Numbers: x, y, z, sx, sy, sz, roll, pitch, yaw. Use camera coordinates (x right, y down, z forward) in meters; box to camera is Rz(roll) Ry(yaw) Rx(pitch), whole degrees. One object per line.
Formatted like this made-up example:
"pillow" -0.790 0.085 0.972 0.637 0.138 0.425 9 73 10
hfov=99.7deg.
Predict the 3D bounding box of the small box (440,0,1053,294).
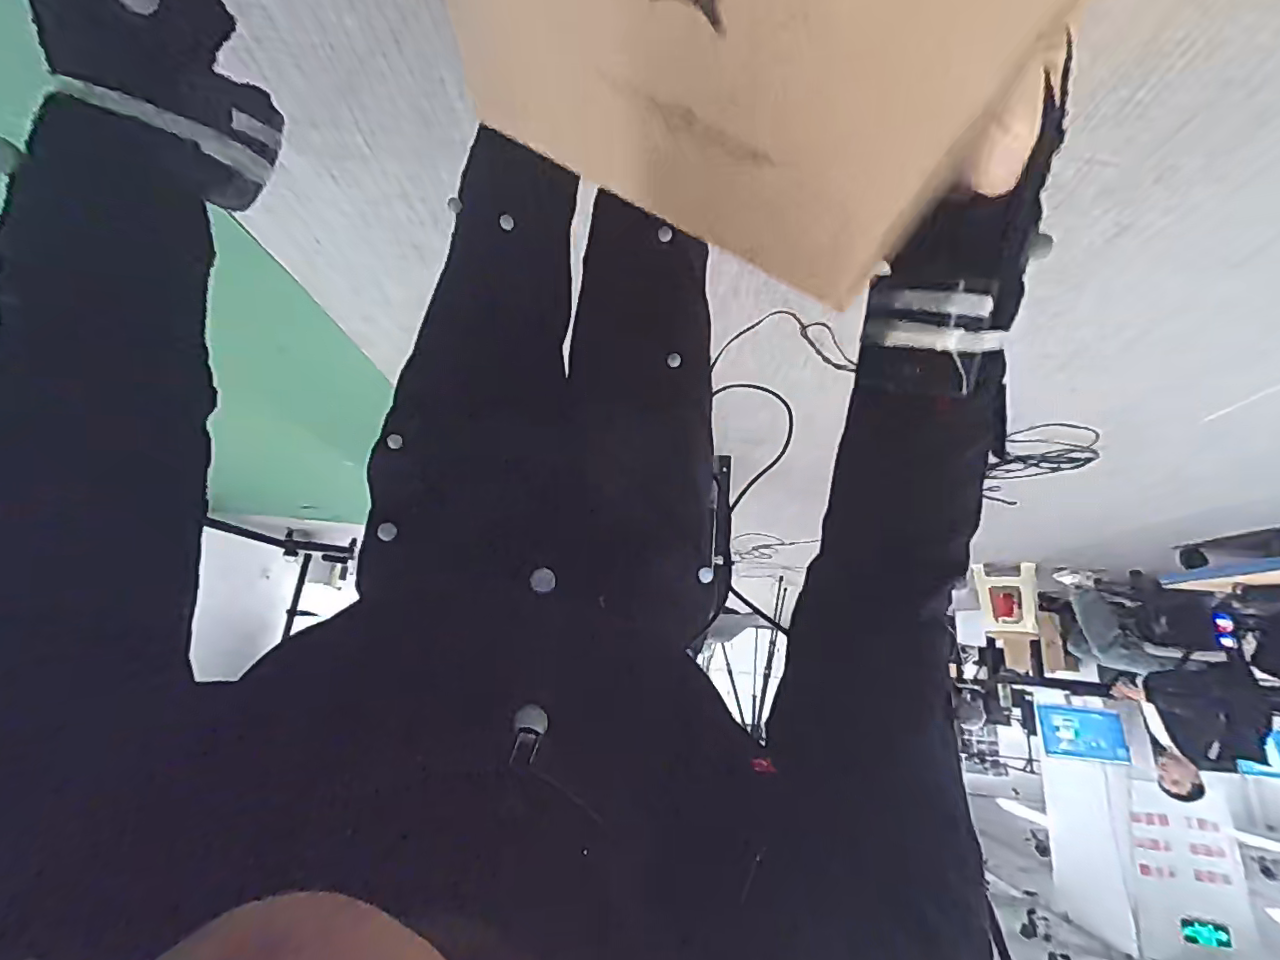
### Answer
"small box" 0.050 -0.198 0.146 0.168 0.176 0.179 30 165 5
